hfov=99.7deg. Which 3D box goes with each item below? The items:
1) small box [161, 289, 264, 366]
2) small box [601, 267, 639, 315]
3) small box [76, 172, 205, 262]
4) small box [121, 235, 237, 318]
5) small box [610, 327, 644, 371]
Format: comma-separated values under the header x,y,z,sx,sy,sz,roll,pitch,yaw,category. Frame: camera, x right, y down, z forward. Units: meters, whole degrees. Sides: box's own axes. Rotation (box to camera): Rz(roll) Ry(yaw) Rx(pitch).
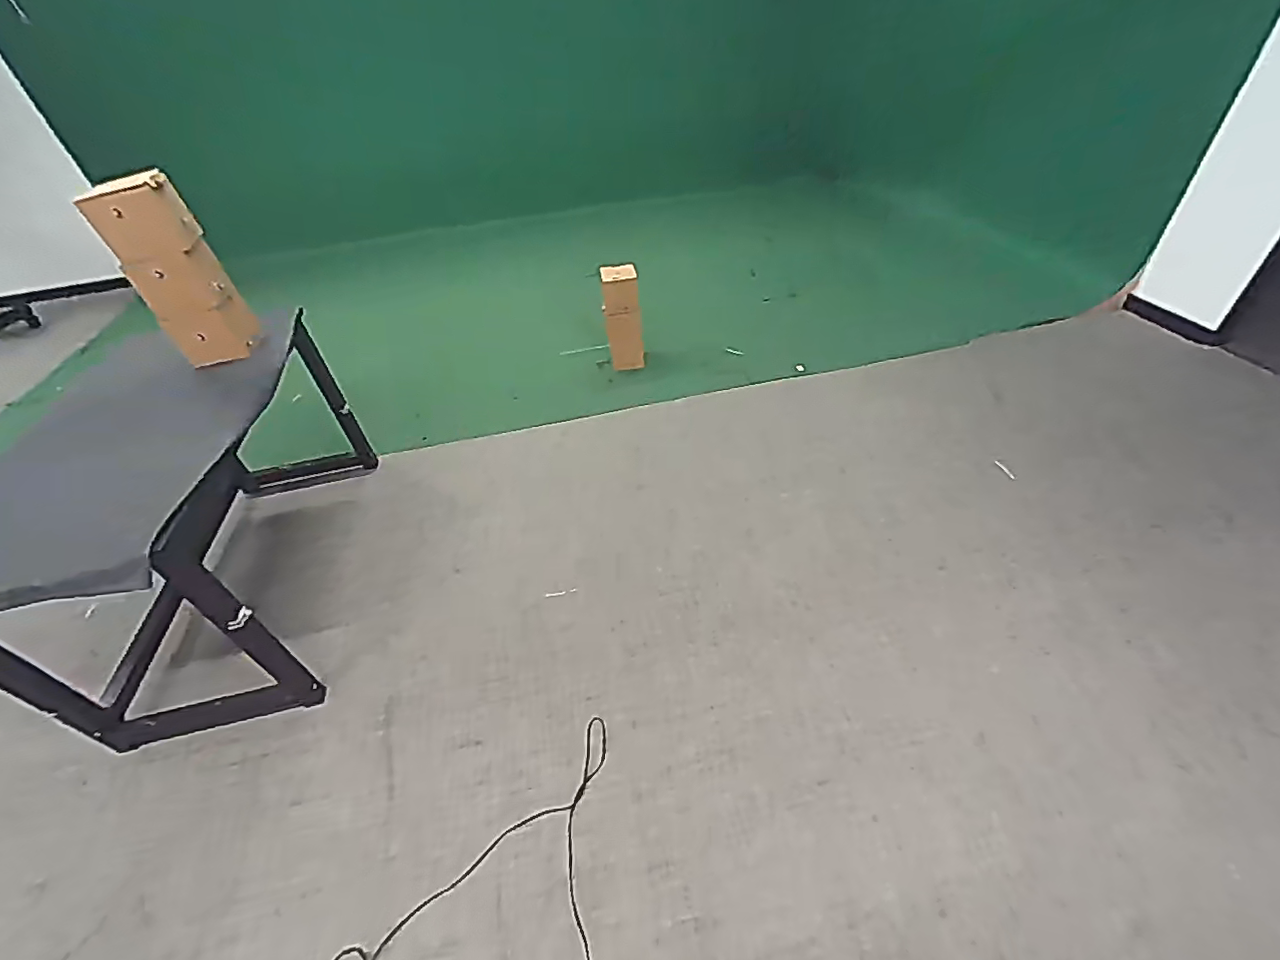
x,y,z,sx,sy,sz,roll,pitch,yaw,category
-1.346,-0.486,1.721,0.179,0.176,0.168,-14,44,-4,small box
-0.099,-0.930,2.661,0.168,0.176,0.179,-8,42,-4,small box
-1.370,-0.726,1.498,0.179,0.176,0.168,-18,46,-9,small box
-1.360,-0.604,1.609,0.179,0.176,0.168,-15,45,-8,small box
-0.071,-0.696,2.891,0.168,0.176,0.179,-6,42,0,small box
